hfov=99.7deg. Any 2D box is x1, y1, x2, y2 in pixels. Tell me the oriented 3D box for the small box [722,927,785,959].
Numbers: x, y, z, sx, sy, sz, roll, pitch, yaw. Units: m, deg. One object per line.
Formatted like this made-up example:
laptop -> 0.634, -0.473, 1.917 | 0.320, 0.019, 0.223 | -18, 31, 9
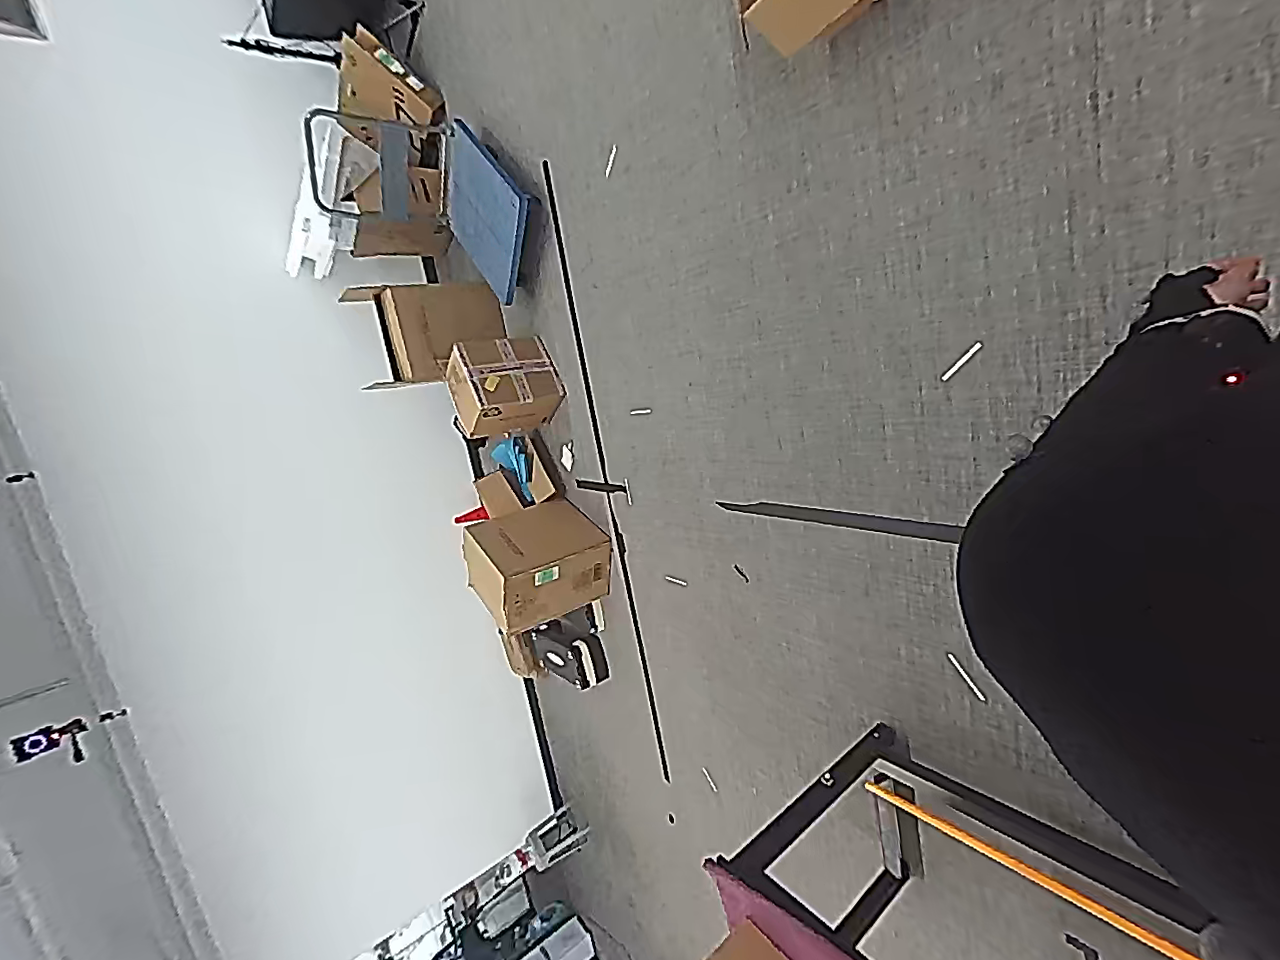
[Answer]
small box -> 0.270, 1.179, 1.217 | 0.179, 0.176, 0.168 | 9, 112, 55
